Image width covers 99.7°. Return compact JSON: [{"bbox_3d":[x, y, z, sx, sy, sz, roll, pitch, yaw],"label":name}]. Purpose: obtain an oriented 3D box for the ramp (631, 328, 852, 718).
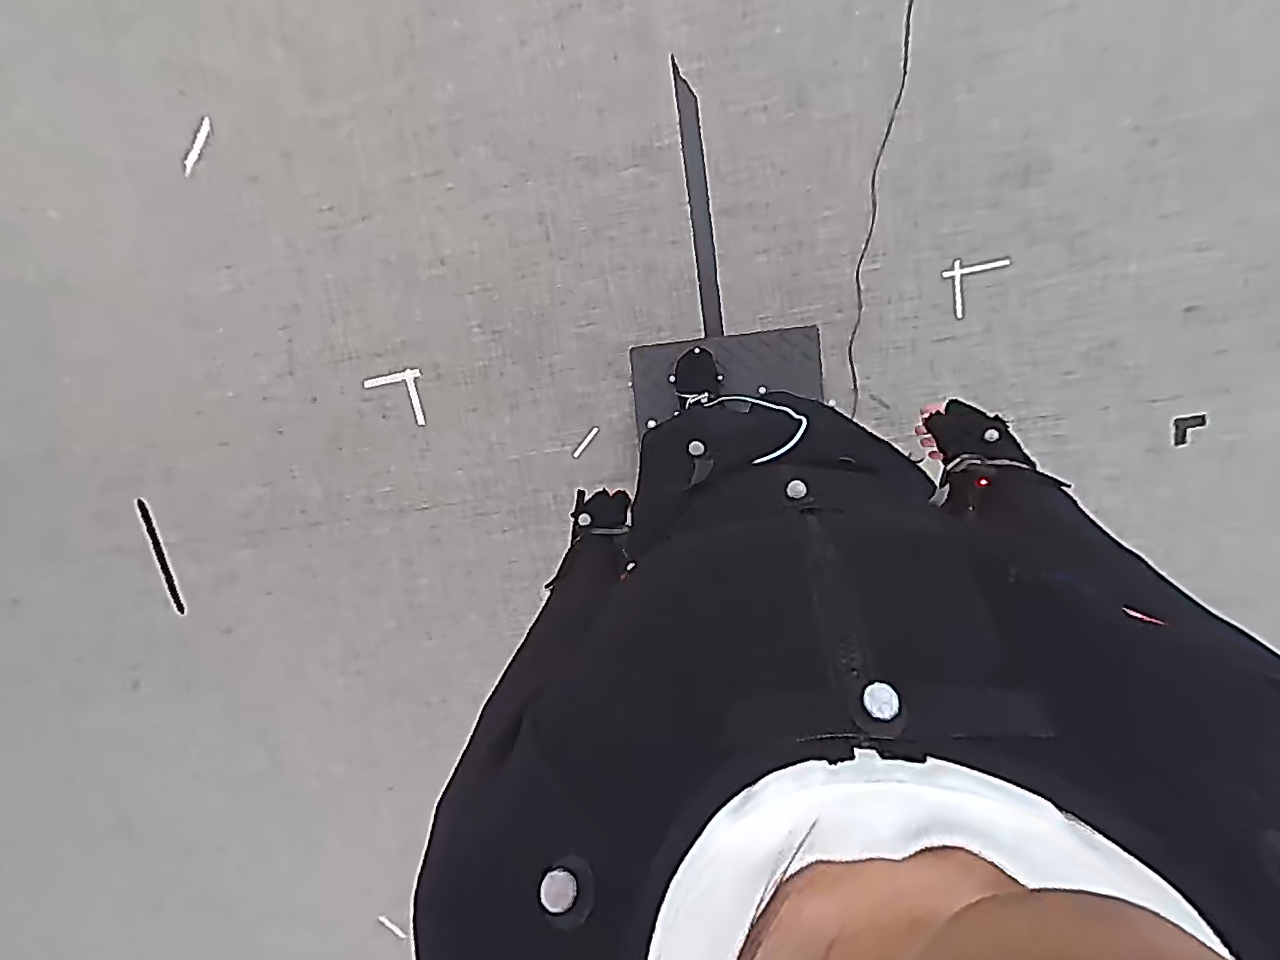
[{"bbox_3d":[0.259,0.126,1.427,0.509,0.206,0.991,-7,101,9],"label":"ramp"}]
